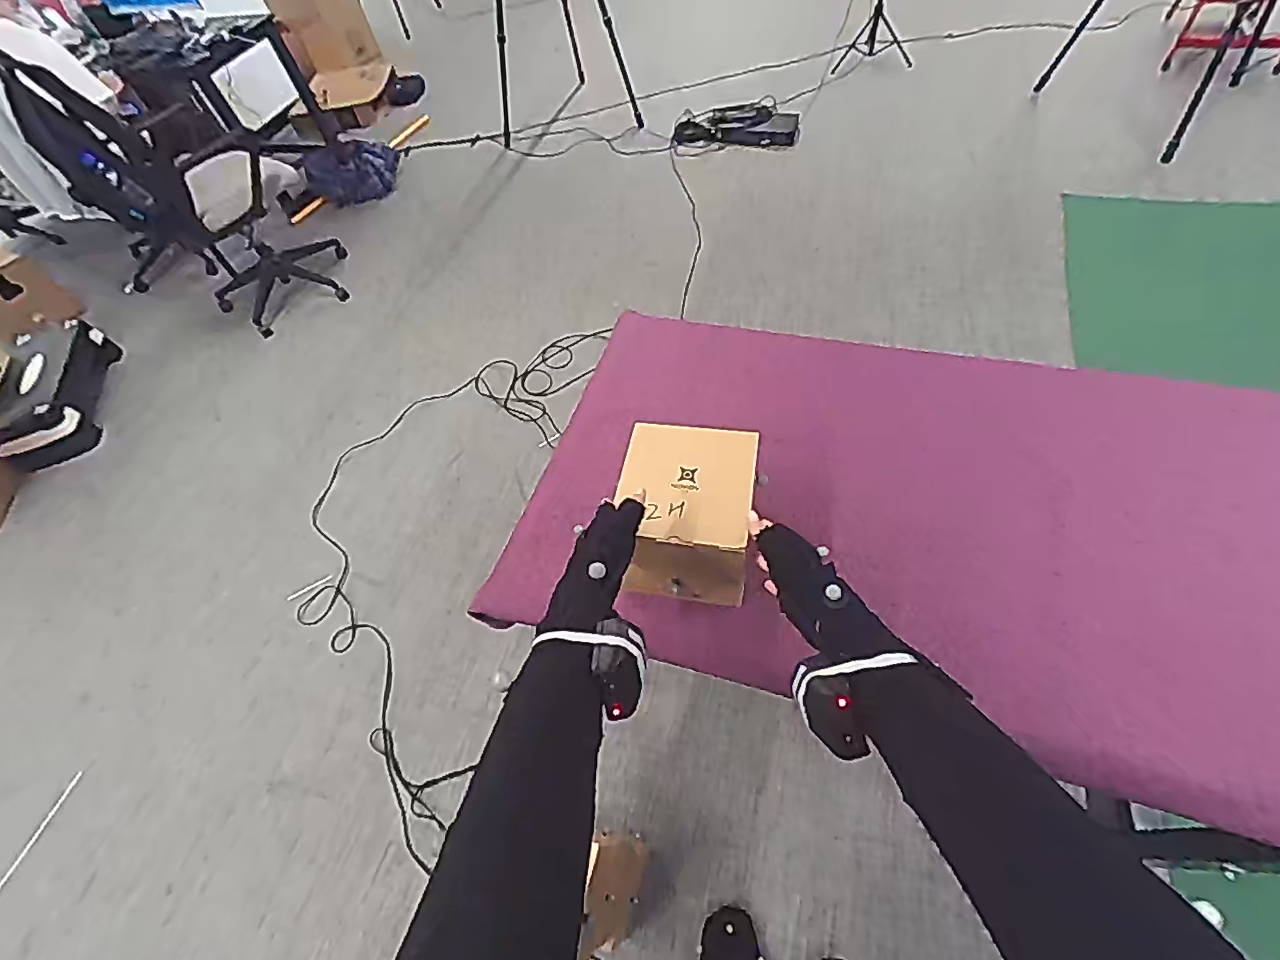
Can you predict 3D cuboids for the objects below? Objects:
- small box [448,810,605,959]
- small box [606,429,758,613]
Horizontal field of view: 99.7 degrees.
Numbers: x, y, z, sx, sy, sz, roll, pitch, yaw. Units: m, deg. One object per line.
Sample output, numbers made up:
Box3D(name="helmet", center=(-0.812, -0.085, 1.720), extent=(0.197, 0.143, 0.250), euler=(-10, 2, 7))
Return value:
Box3D(name="small box", center=(-0.163, 0.646, 0.853), extent=(0.168, 0.176, 0.179), euler=(11, 61, 15))
Box3D(name="small box", center=(0.062, 0.057, 0.735), extent=(0.168, 0.176, 0.179), euler=(7, 56, 12))
